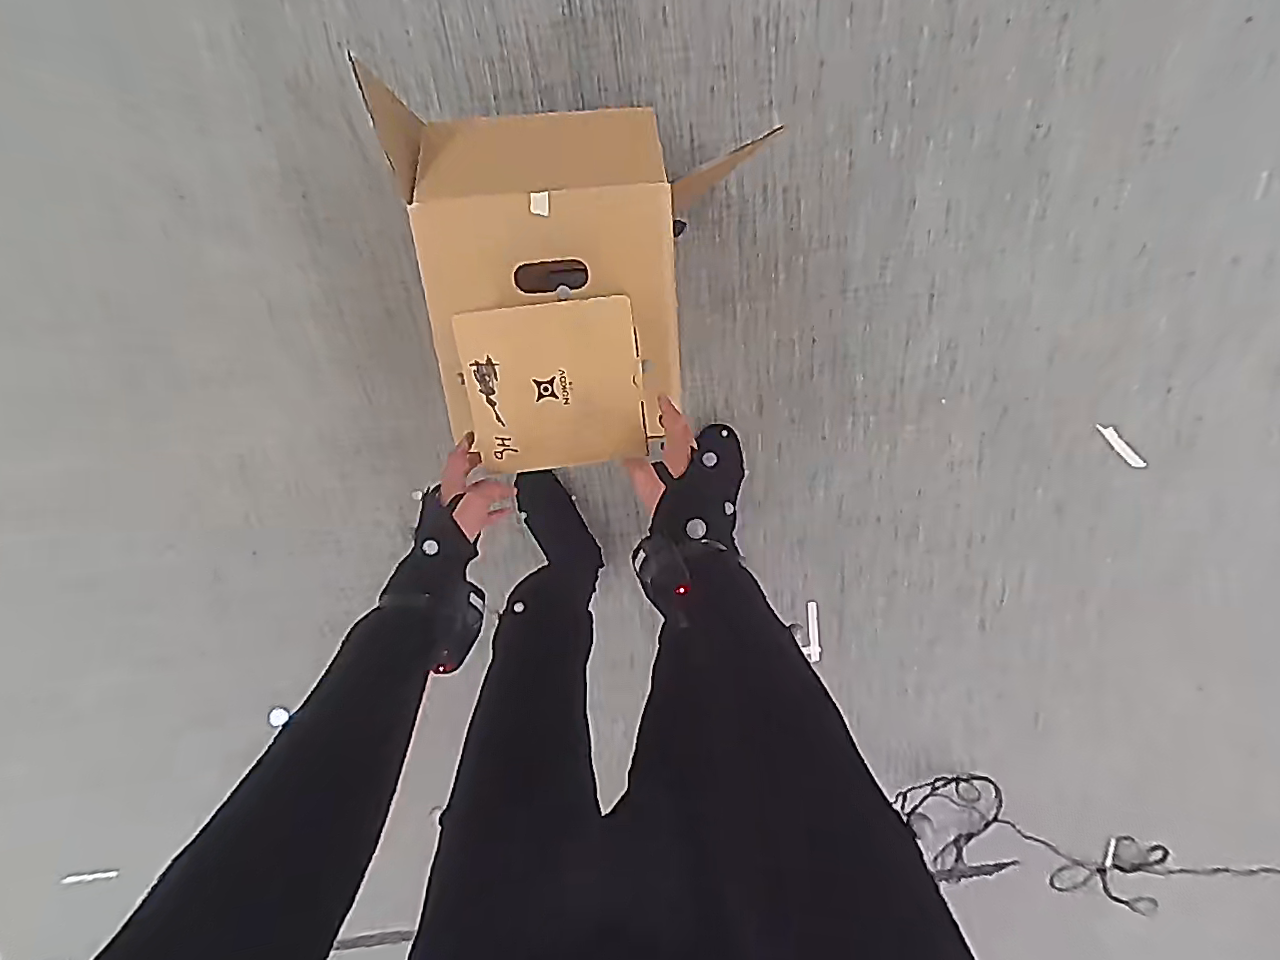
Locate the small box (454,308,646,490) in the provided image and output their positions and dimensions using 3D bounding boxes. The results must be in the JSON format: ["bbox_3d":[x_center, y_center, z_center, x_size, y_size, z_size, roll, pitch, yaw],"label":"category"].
[{"bbox_3d":[-0.092,-0.102,0.622,0.179,0.176,0.168,-6,111,-1],"label":"small box"}]
